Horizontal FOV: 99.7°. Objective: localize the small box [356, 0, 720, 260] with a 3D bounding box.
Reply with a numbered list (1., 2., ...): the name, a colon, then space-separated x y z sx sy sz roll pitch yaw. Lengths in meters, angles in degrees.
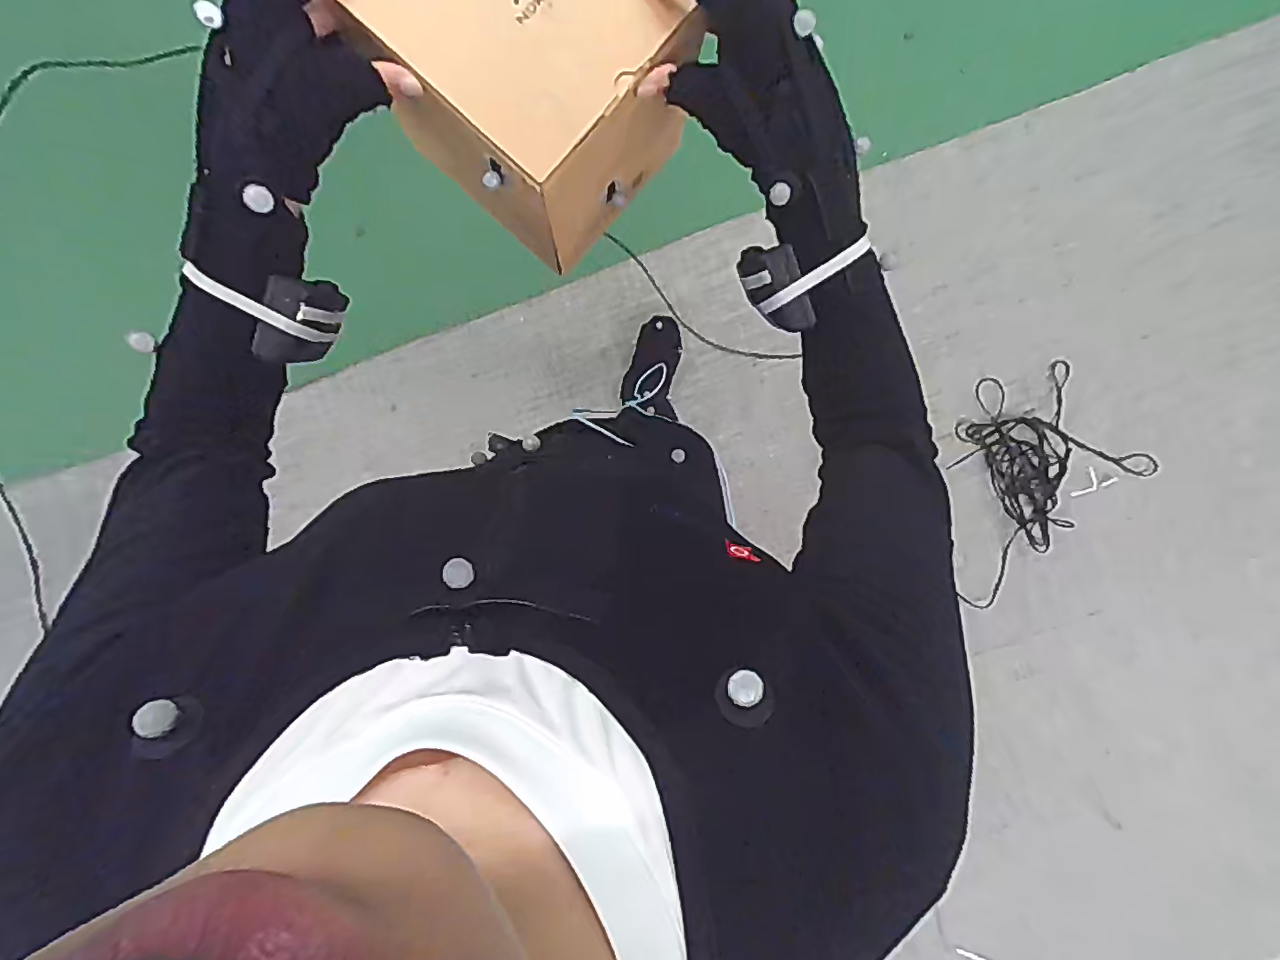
1. small box: -0.072 -0.306 0.414 0.179 0.176 0.168 42 89 -6
